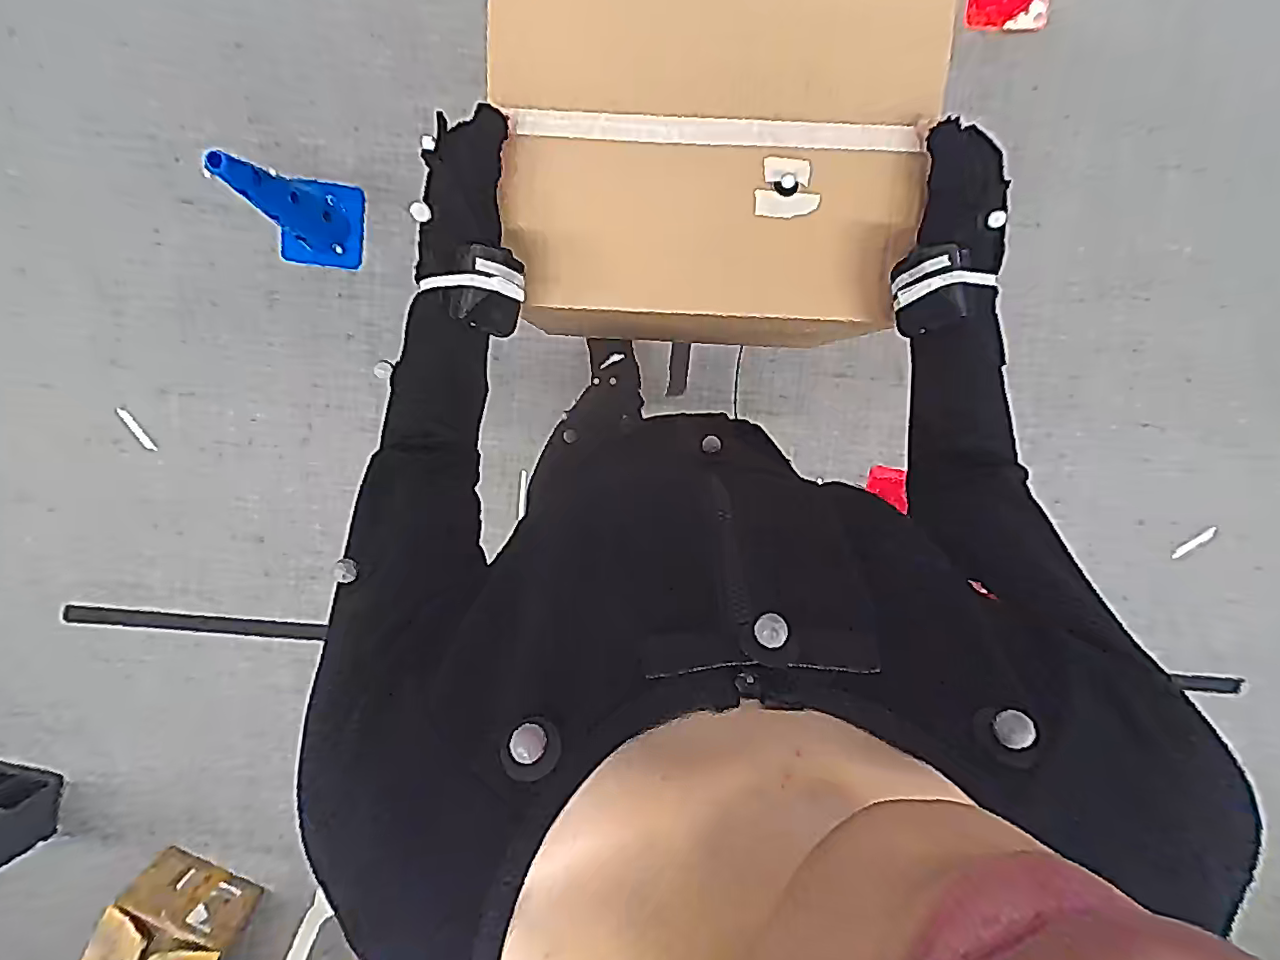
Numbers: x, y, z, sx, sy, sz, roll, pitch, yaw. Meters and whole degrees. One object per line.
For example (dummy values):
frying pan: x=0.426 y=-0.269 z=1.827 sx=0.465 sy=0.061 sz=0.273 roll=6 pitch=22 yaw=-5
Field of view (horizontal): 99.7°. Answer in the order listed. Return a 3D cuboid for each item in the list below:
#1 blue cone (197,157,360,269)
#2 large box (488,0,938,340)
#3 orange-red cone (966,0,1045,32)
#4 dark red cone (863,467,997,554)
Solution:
blue cone: x=-0.801 y=-0.611 z=1.193 sx=0.192 sy=0.380 sz=0.193 roll=8 pitch=97 yaw=-1
large box: x=0.058 y=-0.342 z=0.637 sx=0.408 sy=0.320 sz=0.320 roll=2 pitch=99 yaw=-1
orange-red cone: x=0.895 y=-1.178 z=1.136 sx=0.198 sy=0.360 sz=0.199 roll=2 pitch=96 yaw=-3
dark red cone: x=0.708 y=0.100 z=1.284 sx=0.201 sy=0.394 sz=0.202 roll=11 pitch=97 yaw=-2
